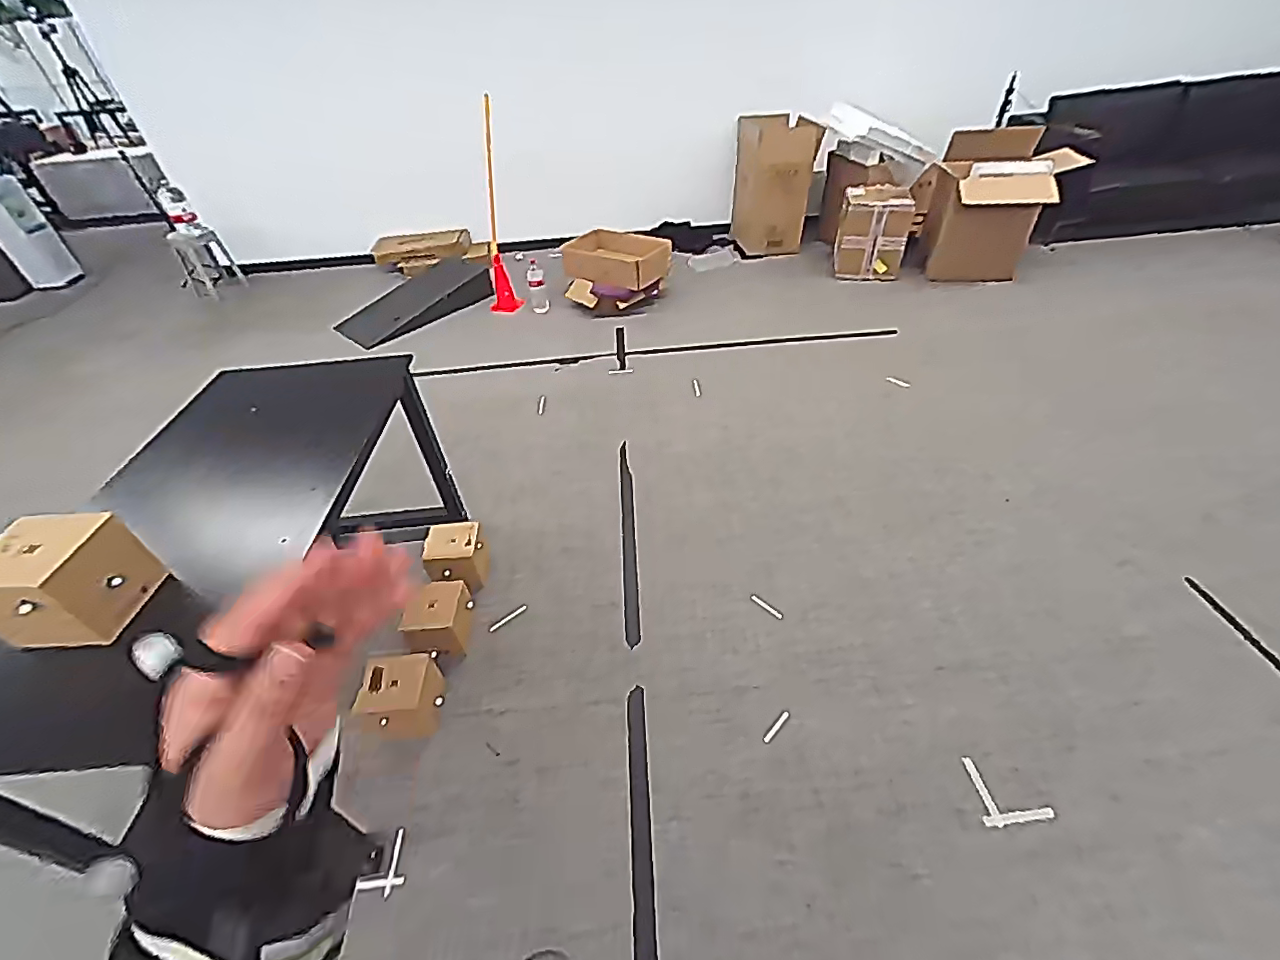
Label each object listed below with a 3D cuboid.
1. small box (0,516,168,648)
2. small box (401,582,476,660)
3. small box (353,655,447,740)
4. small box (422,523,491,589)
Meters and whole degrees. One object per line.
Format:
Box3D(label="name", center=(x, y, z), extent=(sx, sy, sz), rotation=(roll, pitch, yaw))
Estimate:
Box3D(label="small box", center=(-1.018, 0.184, 0.966), extent=(0.179, 0.176, 0.168), rotation=(-3, 41, 2))
Box3D(label="small box", center=(-0.635, 0.452, 1.729), extent=(0.168, 0.176, 0.179), rotation=(-6, 42, 0))
Box3D(label="small box", center=(-0.673, 0.622, 1.539), extent=(0.179, 0.176, 0.168), rotation=(-5, 42, -1))
Box3D(label="small box", center=(-0.646, 0.277, 1.925), extent=(0.179, 0.176, 0.168), rotation=(-6, 42, 0))
